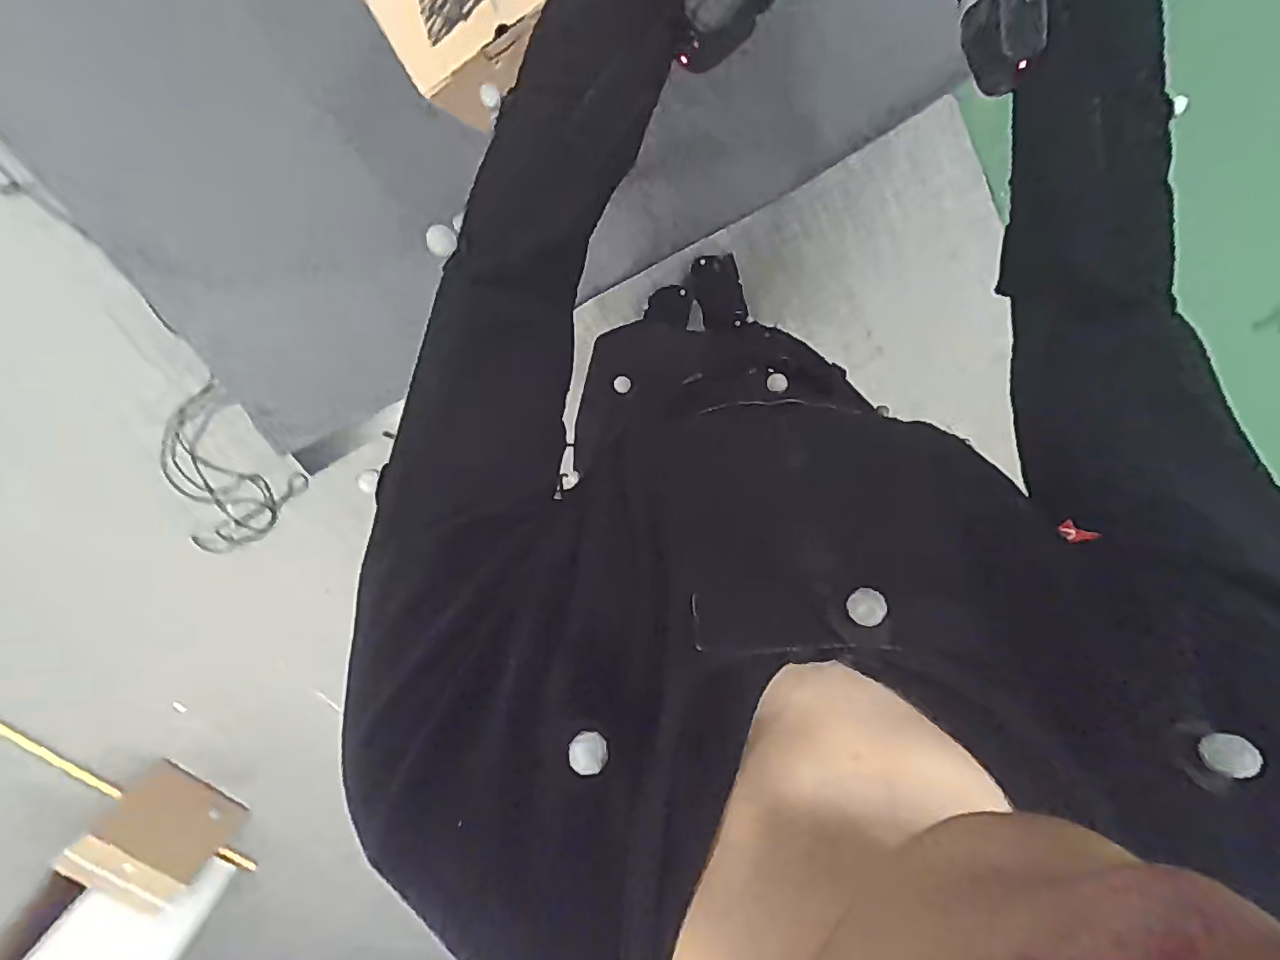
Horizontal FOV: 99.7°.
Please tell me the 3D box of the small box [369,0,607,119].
[{"bbox_3d":[-0.143,-0.454,0.476,0.168,0.176,0.179,-26,109,14],"label":"small box"}]
